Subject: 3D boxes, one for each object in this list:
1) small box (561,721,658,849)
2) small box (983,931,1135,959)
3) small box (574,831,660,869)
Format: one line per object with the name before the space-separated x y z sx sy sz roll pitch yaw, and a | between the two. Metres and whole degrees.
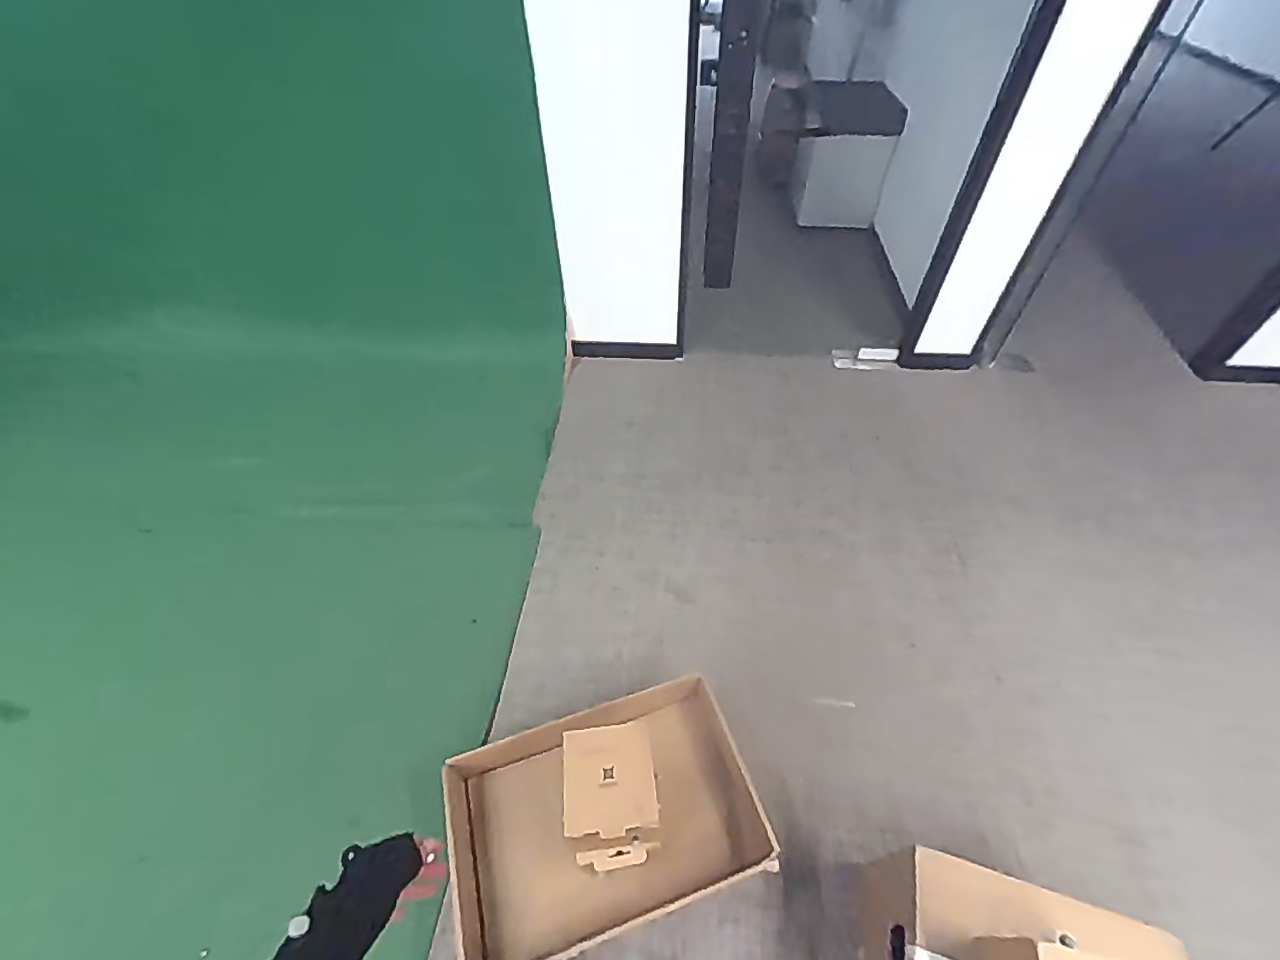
small box | -0.058 0.589 1.037 0.168 0.176 0.179 -6 47 -4
small box | 0.605 0.753 0.747 0.179 0.176 0.168 9 51 9
small box | -0.054 0.706 1.149 0.168 0.176 0.179 -10 48 -5
